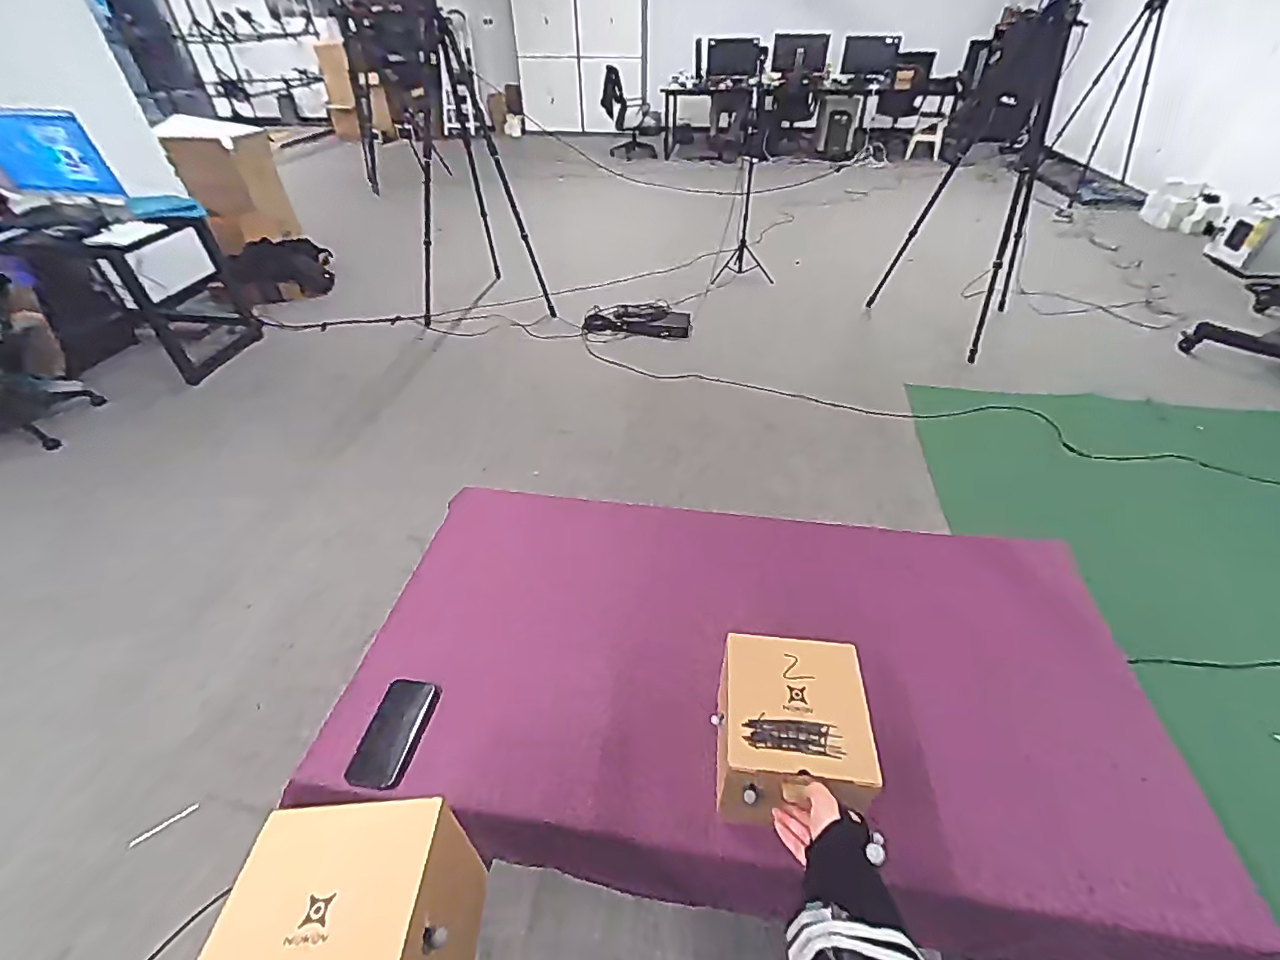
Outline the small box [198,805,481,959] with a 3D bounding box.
[{"bbox_3d":[-0.251,0.419,0.473,0.168,0.176,0.179,-5,34,2],"label":"small box"}]
